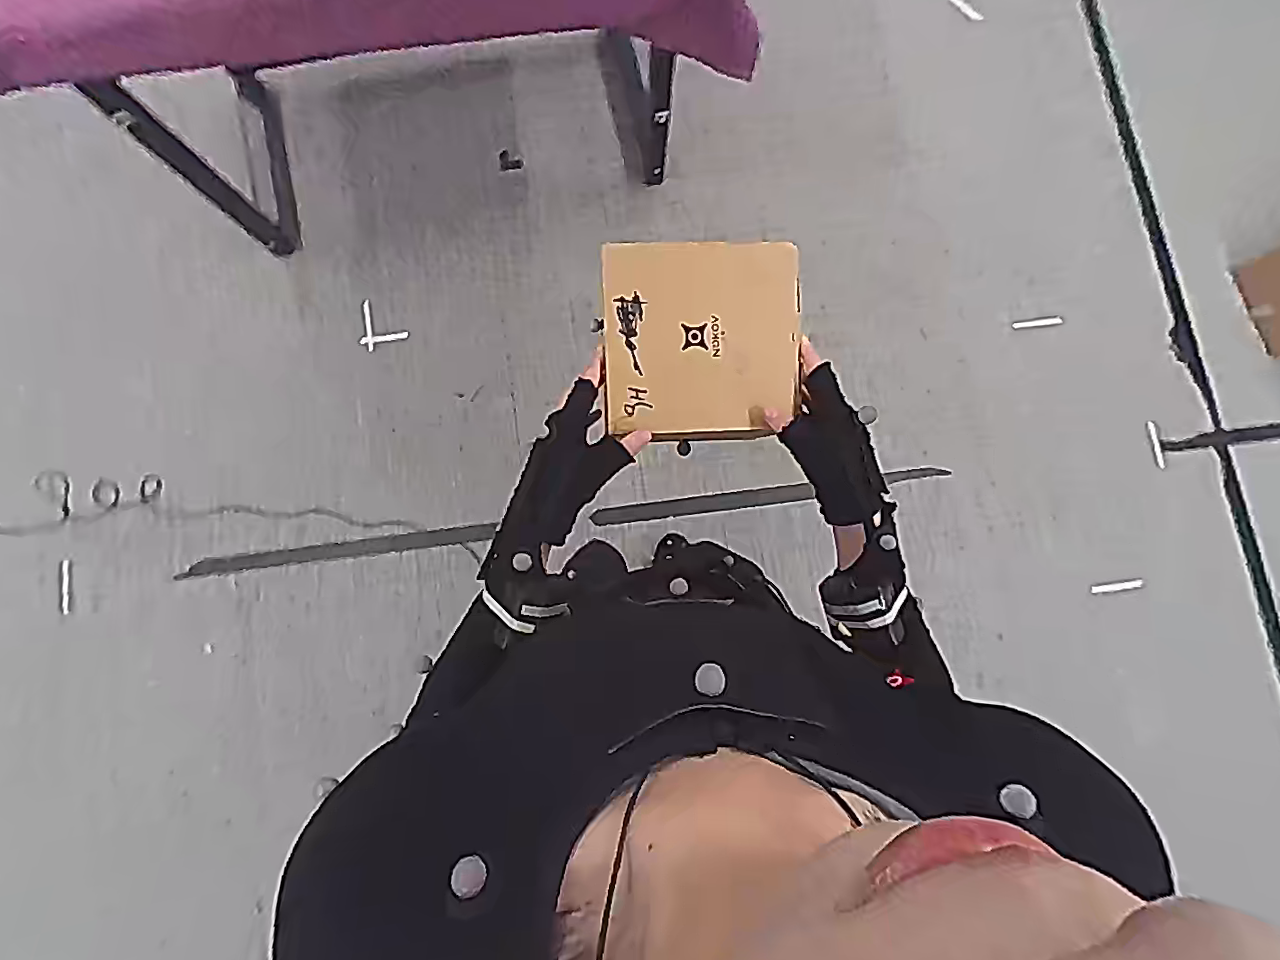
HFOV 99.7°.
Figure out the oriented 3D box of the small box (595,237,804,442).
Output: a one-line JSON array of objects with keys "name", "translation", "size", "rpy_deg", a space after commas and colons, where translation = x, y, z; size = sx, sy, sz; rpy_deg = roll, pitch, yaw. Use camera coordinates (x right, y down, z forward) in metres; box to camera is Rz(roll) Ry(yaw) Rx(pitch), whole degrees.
[{"name": "small box", "translation": [0.047, -0.127, 0.548], "size": [0.179, 0.176, 0.168], "rpy_deg": [-3, 90, -6]}]
